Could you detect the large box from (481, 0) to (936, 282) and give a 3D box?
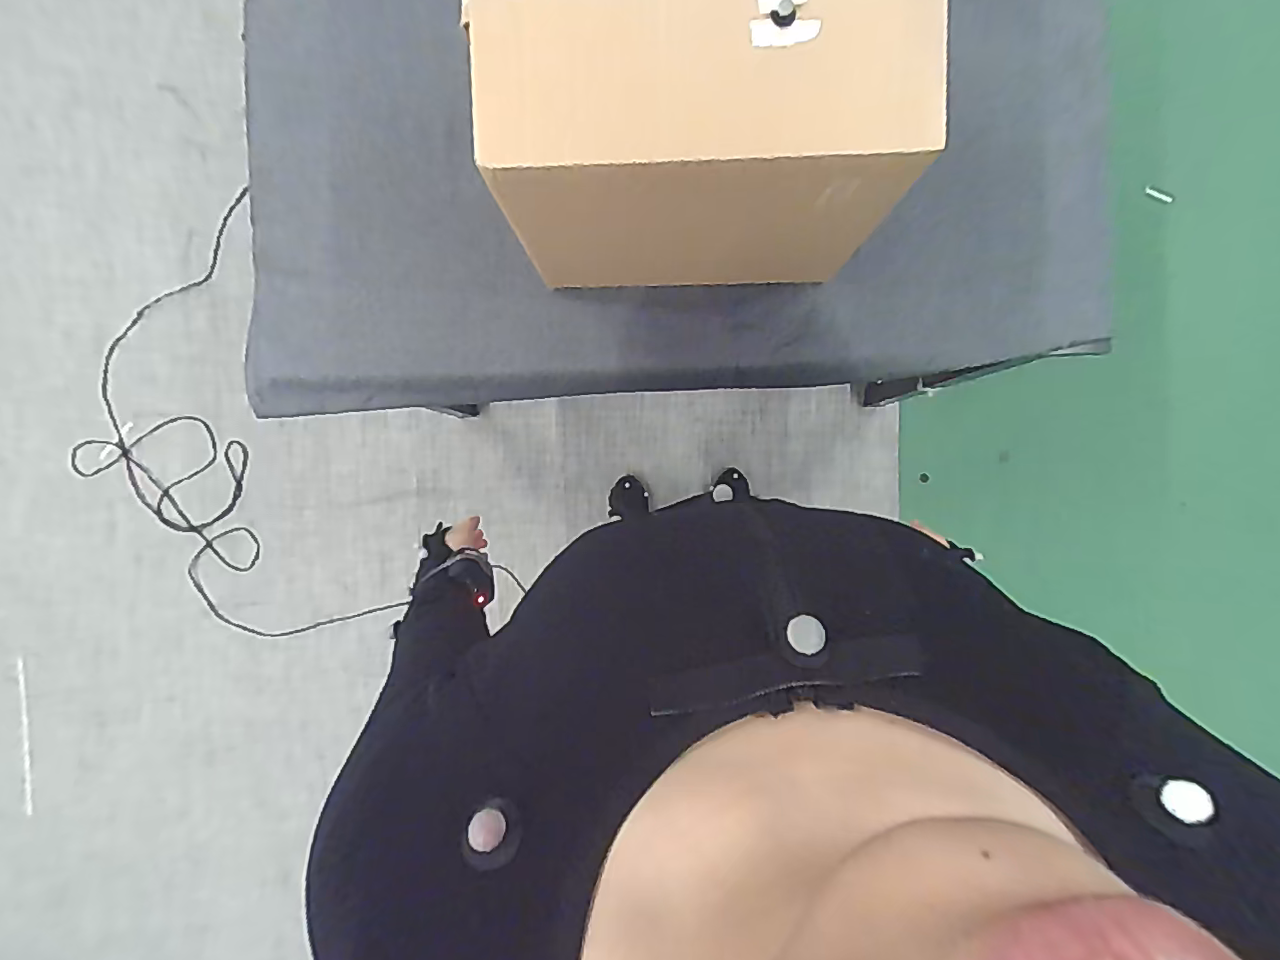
[{"bbox_3d":[0.058,-0.441,0.624,0.408,0.320,0.320,-1,91,2],"label":"large box"}]
